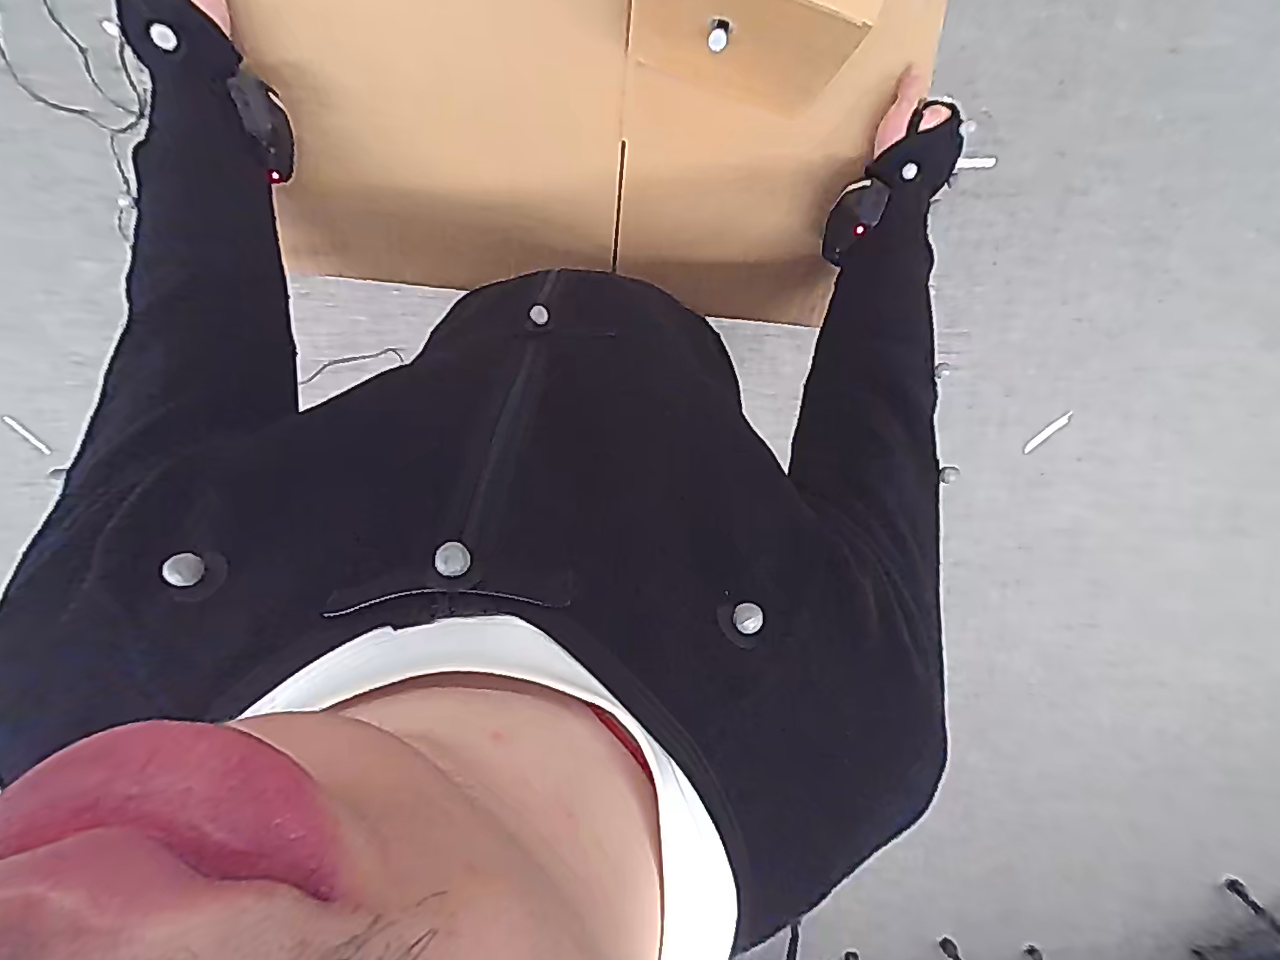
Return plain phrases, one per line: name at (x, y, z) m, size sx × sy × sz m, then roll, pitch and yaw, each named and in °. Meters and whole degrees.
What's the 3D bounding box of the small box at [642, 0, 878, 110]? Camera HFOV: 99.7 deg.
small box at (0.104, -0.440, 0.439) m, size 0.179 × 0.176 × 0.168 m, roll 16°, pitch 104°, yaw -5°
